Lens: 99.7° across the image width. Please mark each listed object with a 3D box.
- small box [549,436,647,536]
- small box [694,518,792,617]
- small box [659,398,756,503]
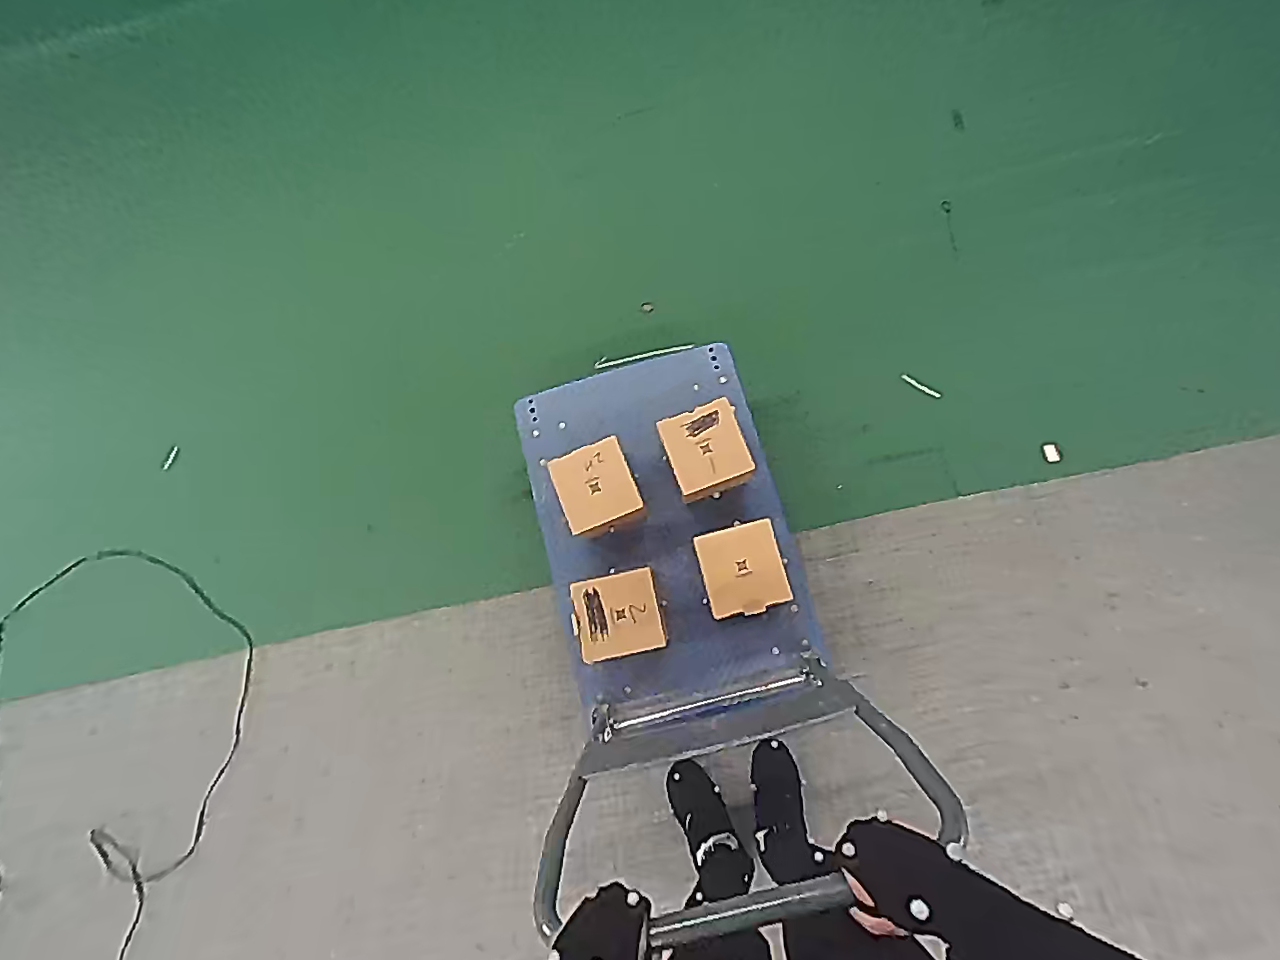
[{"bbox_3d":[-0.090,0.023,1.248,0.168,0.176,0.179,-21,79,0],"label":"small box"},{"bbox_3d":[0.218,0.194,1.195,0.168,0.176,0.179,-15,80,2],"label":"small box"},{"bbox_3d":[0.150,-0.061,1.243,0.168,0.176,0.179,-20,80,2],"label":"small box"}]
